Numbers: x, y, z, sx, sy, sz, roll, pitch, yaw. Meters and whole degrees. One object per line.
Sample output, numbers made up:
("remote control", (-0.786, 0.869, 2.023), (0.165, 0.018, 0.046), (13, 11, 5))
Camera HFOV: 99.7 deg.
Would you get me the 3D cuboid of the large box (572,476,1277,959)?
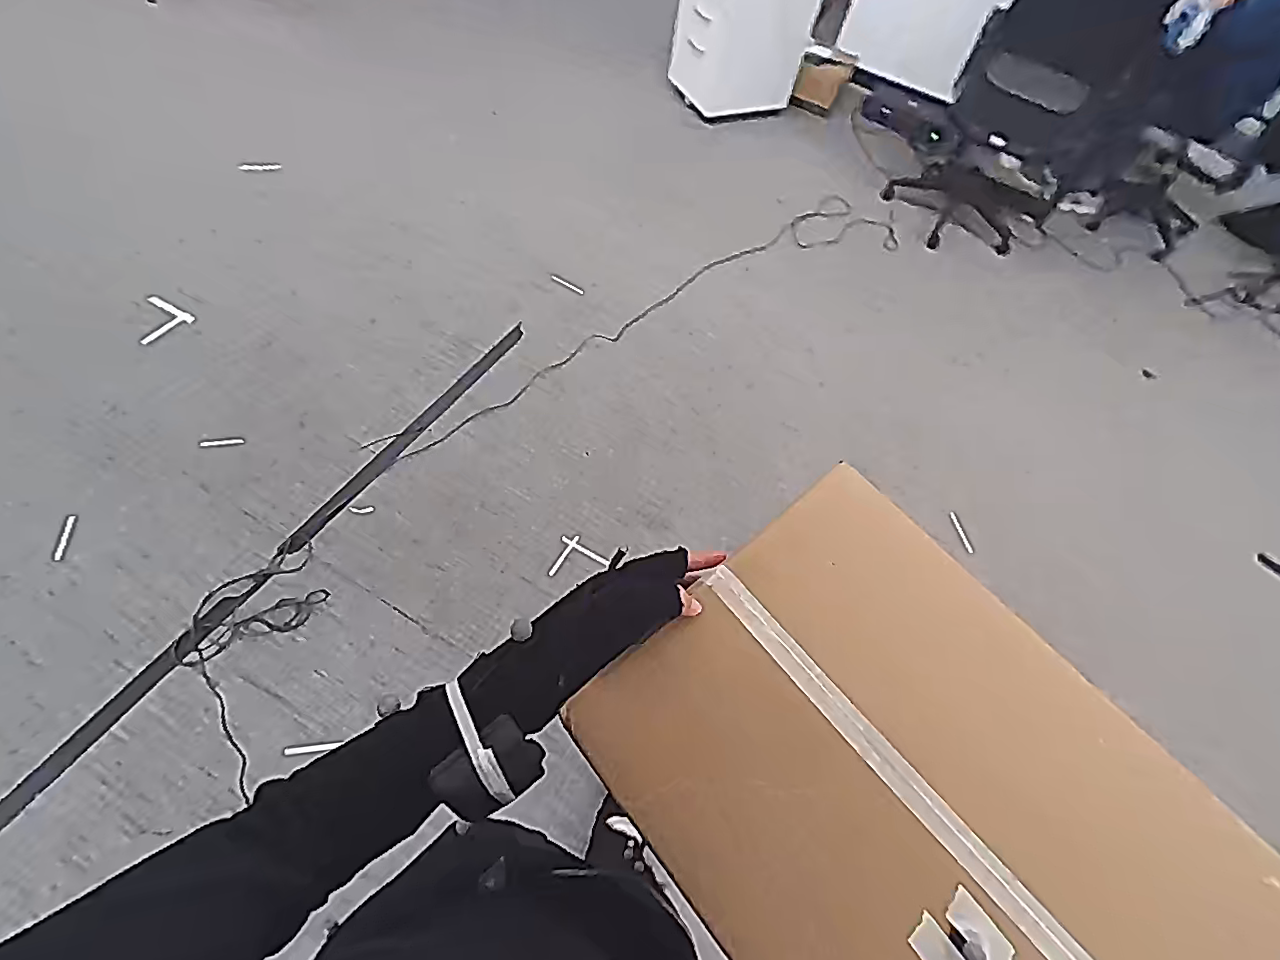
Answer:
("large box", (0.185, 0.278, 0.515), (0.320, 0.320, 0.408), (-37, 72, -16))
